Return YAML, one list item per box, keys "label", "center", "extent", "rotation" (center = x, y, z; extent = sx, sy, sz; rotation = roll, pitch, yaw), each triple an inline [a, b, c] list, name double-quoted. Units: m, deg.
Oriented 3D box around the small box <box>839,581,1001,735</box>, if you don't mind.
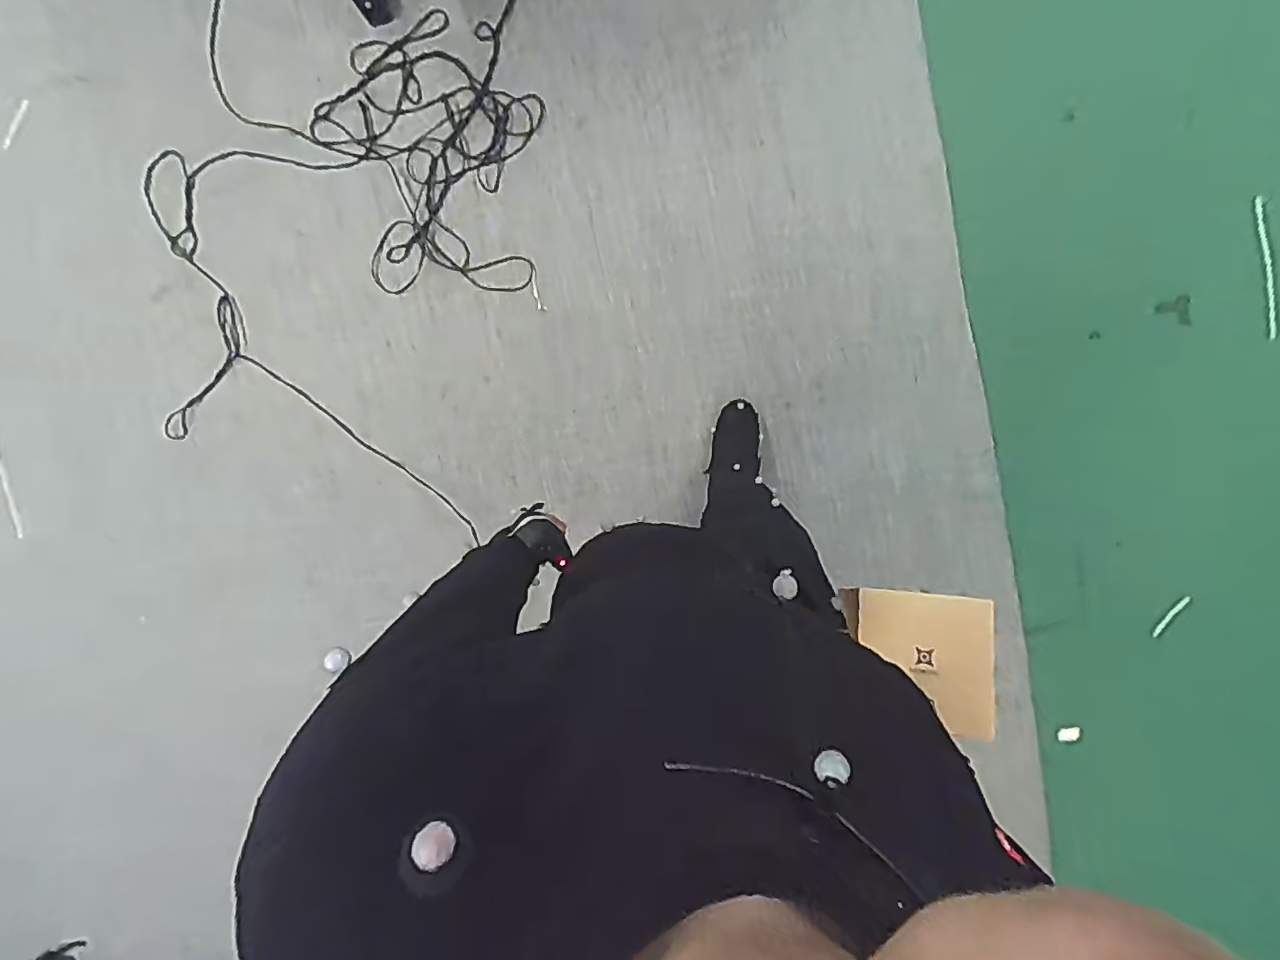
- label: "small box"
  center: [0.382, 0.239, 0.768]
  extent: [0.168, 0.176, 0.179]
  rotation: [2, 80, 11]
